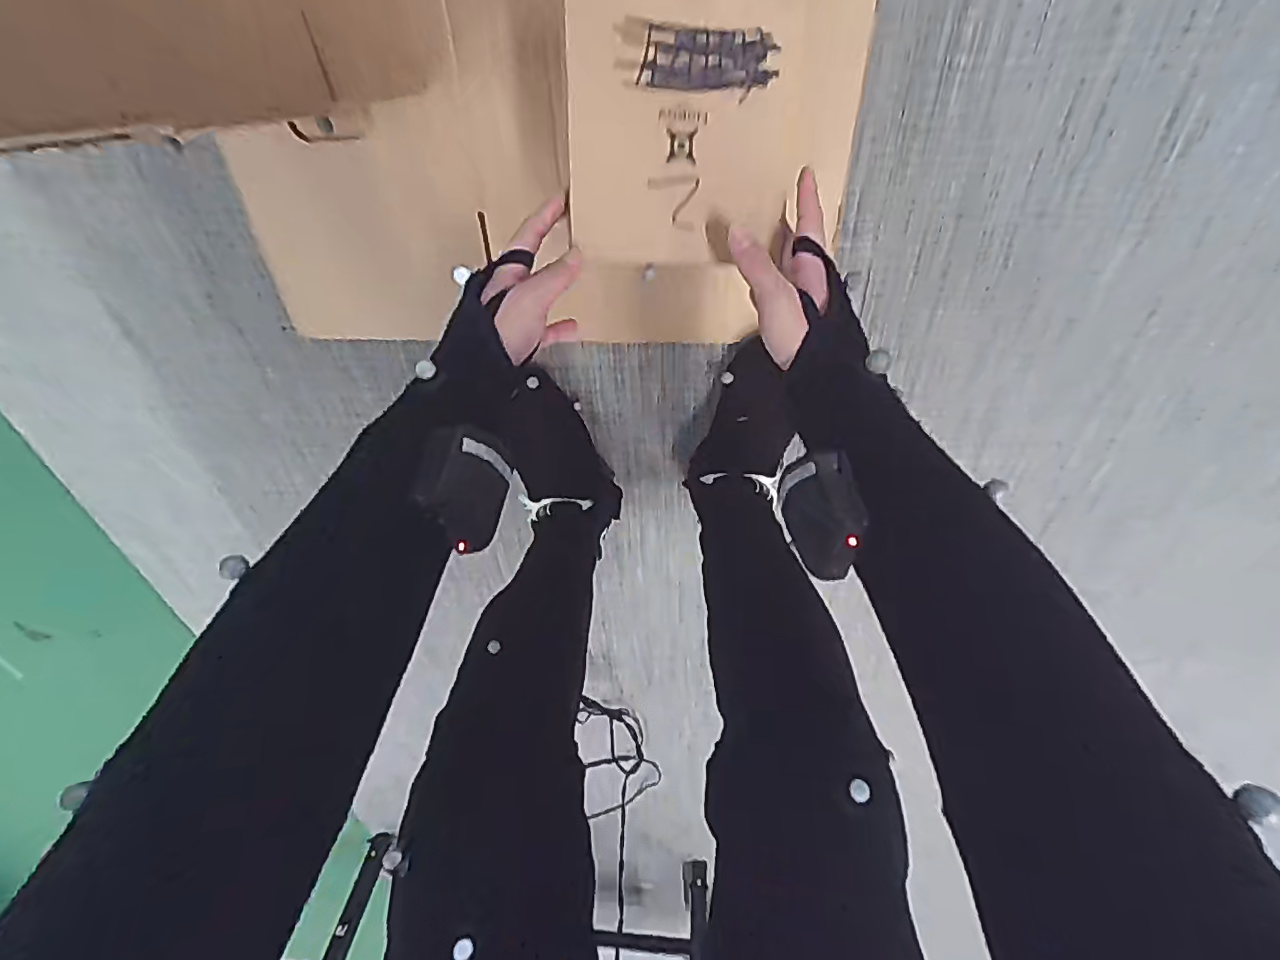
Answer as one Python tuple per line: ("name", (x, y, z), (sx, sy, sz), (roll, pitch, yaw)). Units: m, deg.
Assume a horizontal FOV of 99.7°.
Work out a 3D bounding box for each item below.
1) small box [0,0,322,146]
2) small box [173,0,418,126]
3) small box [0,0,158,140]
("small box", (-0.338, -0.318, 0.325), (0.168, 0.176, 0.179), (-1, 127, 8))
("small box", (-0.321, -0.418, 0.454), (0.168, 0.176, 0.179), (-4, 127, 10))
("small box", (-0.349, -0.220, 0.196), (0.168, 0.176, 0.179), (0, 127, 8))
